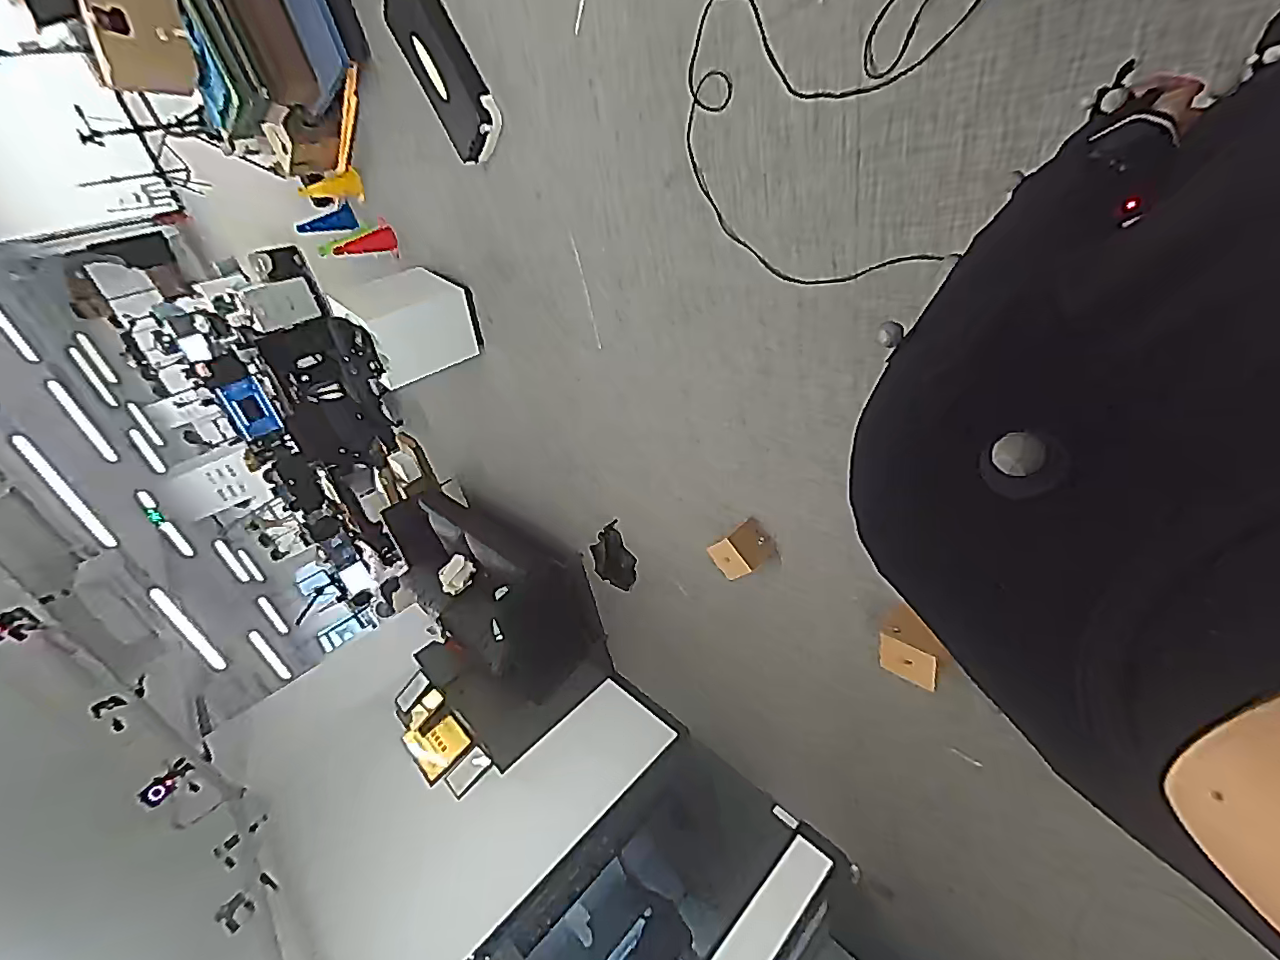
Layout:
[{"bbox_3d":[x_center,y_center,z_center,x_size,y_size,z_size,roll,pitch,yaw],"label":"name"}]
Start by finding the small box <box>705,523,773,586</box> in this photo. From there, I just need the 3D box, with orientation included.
[{"bbox_3d":[0.405,0.304,2.201,0.168,0.176,0.179,53,148,5],"label":"small box"}]

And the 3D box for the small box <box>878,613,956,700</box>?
[{"bbox_3d":[0.894,0.562,1.745,0.179,0.176,0.168,20,133,46],"label":"small box"}]
